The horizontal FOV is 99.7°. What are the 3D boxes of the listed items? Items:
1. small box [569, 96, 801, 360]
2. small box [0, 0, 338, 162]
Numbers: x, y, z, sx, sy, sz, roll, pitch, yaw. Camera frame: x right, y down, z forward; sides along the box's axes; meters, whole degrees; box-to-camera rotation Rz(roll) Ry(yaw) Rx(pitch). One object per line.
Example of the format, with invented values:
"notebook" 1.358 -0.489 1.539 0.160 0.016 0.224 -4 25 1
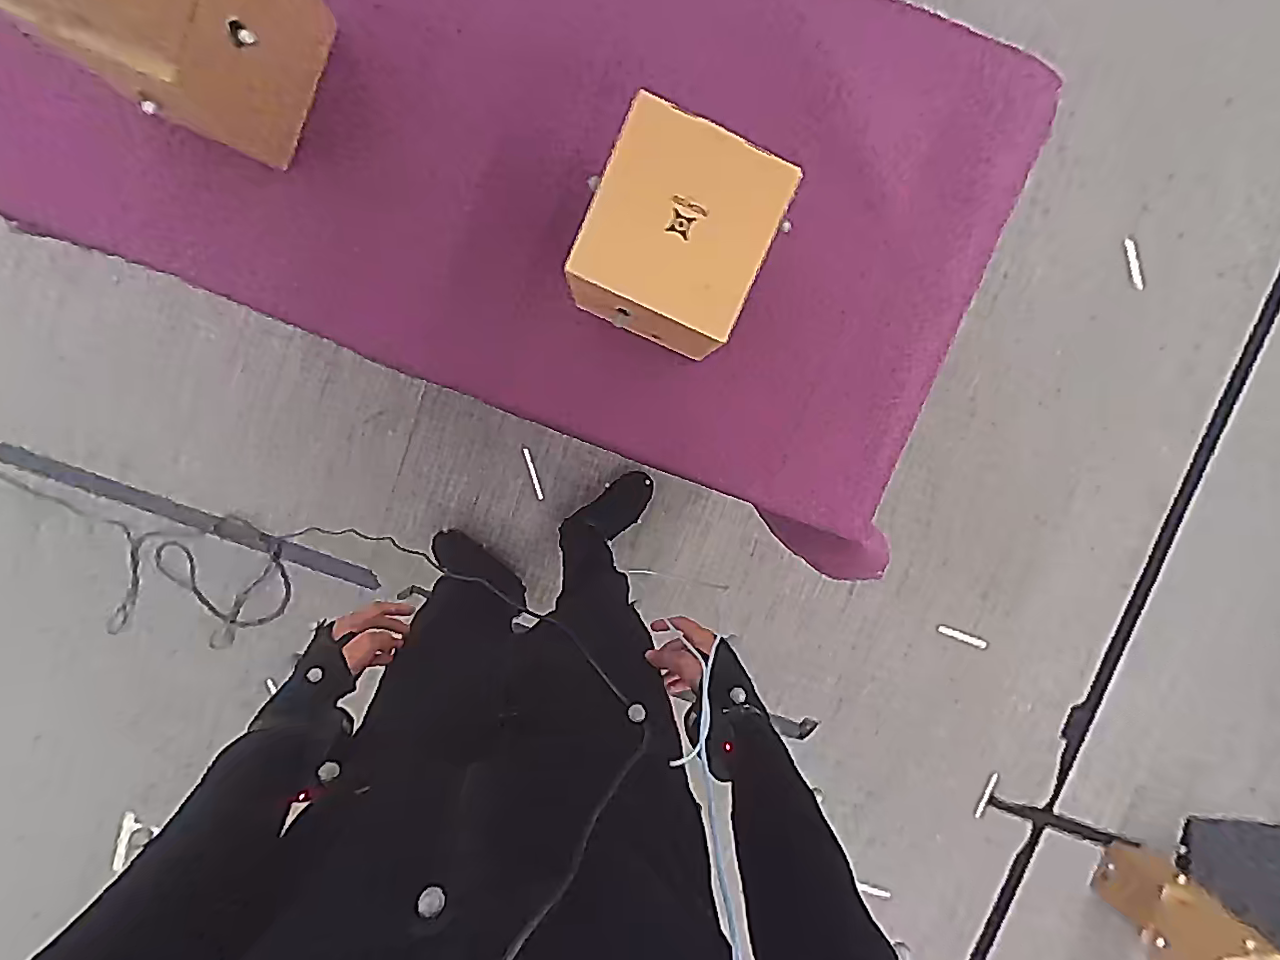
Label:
"small box" 0.040 -0.244 0.578 0.168 0.176 0.179 24 94 -5
"small box" -0.433 -0.456 0.527 0.168 0.176 0.179 24 94 -6
